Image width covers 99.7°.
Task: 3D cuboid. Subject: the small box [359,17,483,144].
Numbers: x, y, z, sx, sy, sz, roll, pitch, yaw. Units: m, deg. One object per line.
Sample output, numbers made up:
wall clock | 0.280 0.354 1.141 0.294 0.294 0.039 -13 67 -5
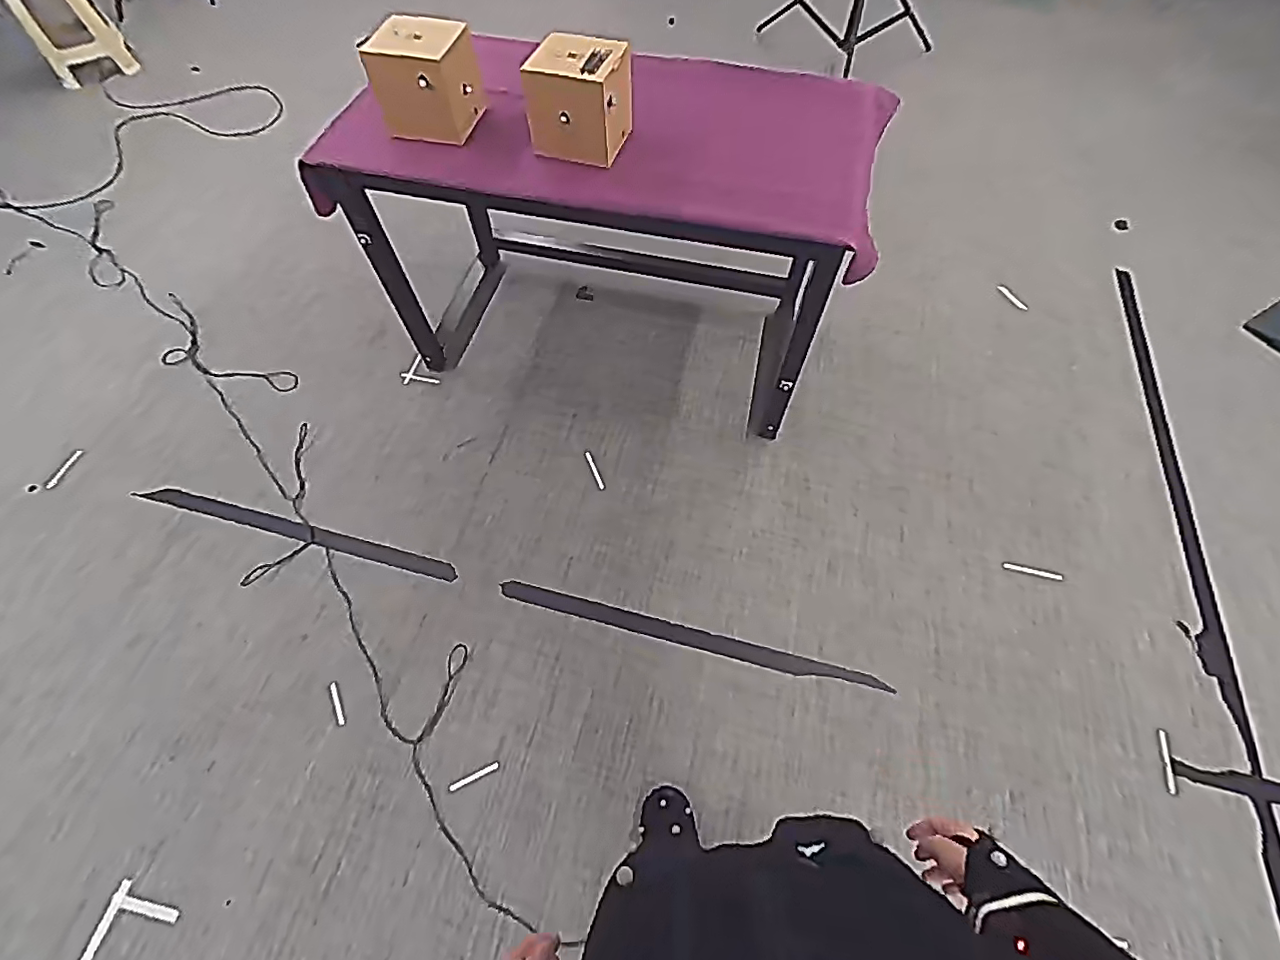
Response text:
small box | -0.463 -0.867 1.181 0.179 0.176 0.168 10 61 6
